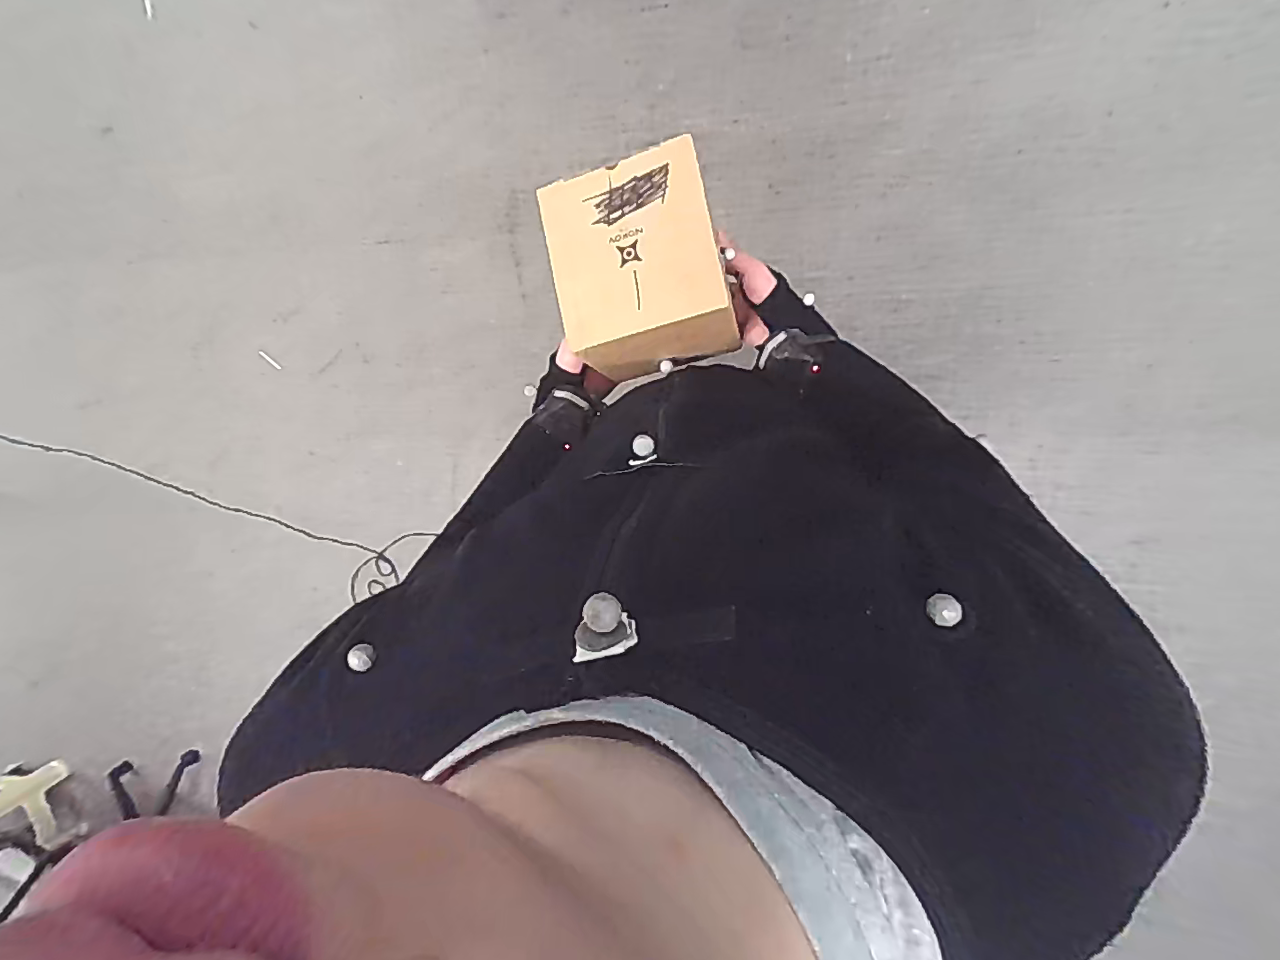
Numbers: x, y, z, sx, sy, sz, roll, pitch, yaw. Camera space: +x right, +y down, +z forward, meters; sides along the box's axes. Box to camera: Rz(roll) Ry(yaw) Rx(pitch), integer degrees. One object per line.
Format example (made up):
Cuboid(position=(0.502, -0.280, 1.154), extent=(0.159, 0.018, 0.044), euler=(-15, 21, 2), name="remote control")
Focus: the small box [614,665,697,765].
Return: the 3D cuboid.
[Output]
Cuboid(position=(0.053, 0.684, 1.594), extent=(0.168, 0.176, 0.179), euler=(43, 106, 3), name="small box")
